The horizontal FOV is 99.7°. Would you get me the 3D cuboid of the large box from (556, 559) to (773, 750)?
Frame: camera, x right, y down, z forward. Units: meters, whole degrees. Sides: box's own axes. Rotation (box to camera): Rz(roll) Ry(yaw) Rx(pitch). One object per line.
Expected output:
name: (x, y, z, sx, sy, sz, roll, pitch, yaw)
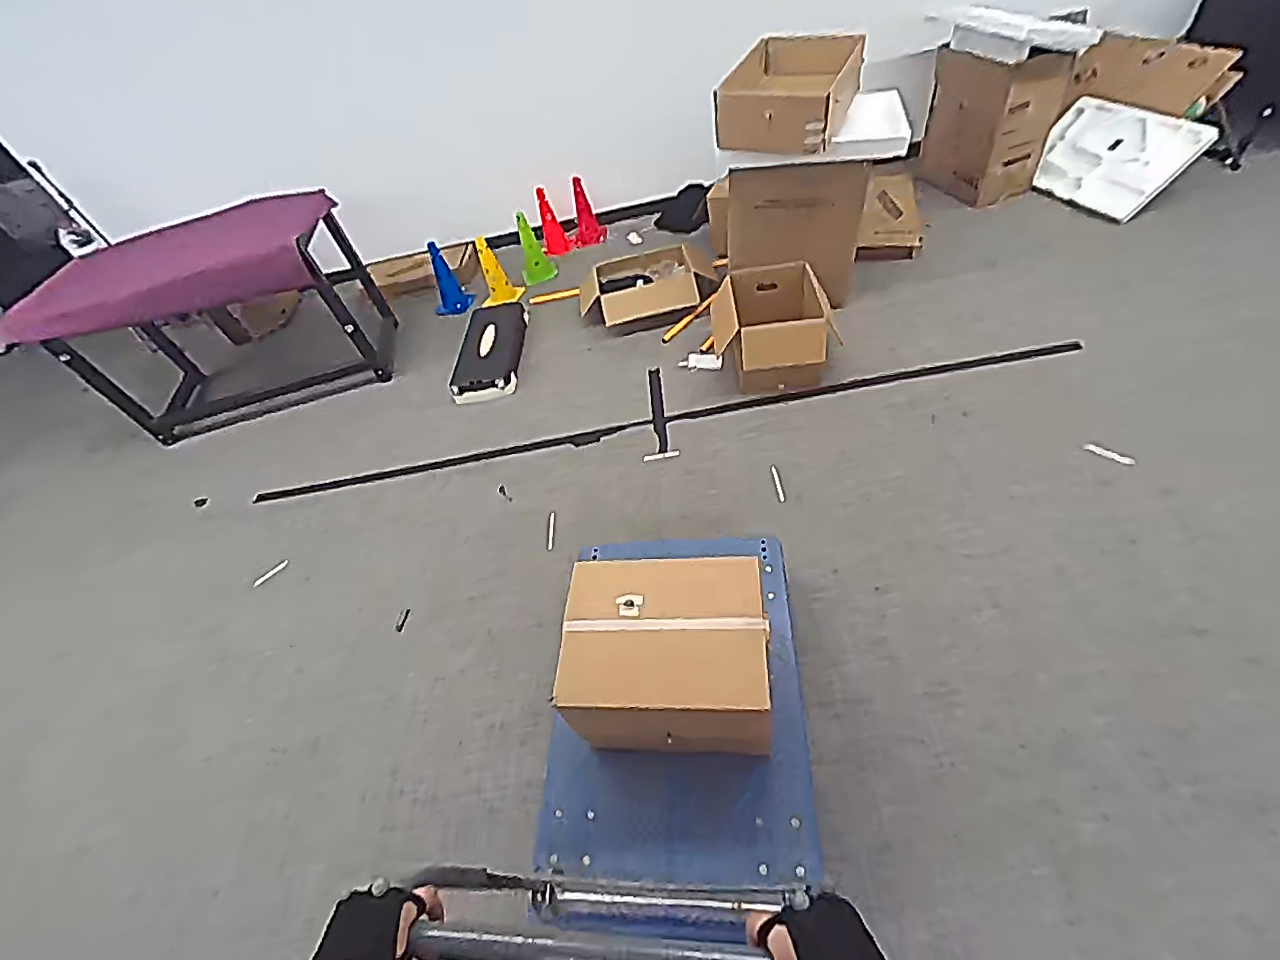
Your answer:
large box: (0.072, 0.397, 1.195, 0.408, 0.320, 0.320, -5, 49, 11)
